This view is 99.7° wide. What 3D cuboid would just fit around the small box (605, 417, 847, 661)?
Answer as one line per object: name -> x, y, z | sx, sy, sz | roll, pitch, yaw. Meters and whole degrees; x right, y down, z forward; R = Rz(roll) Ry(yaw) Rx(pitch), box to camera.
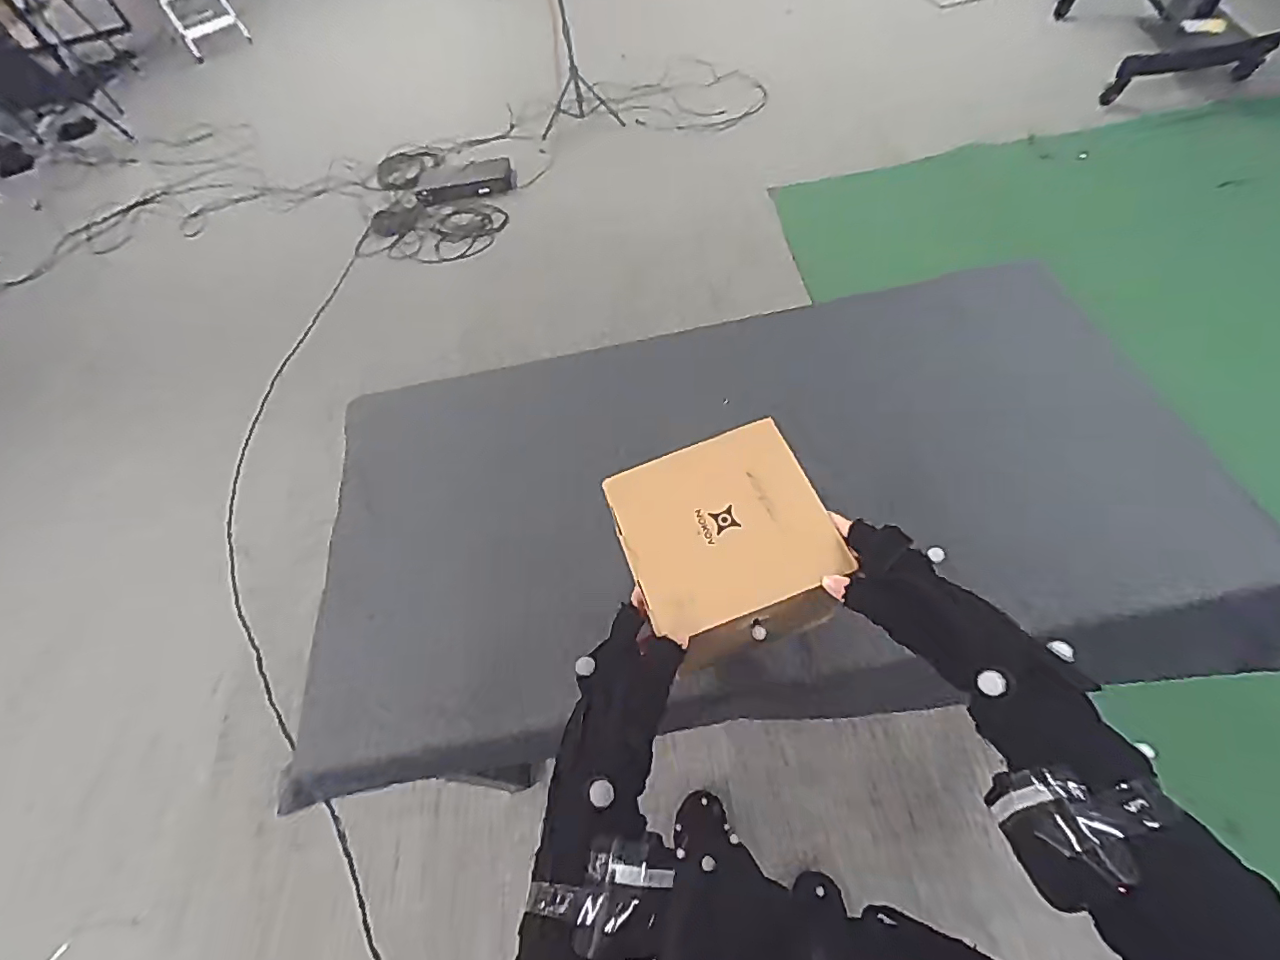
small box -> 0.082, 0.070, 0.563 | 0.179, 0.176, 0.168 | -21, 61, -4
